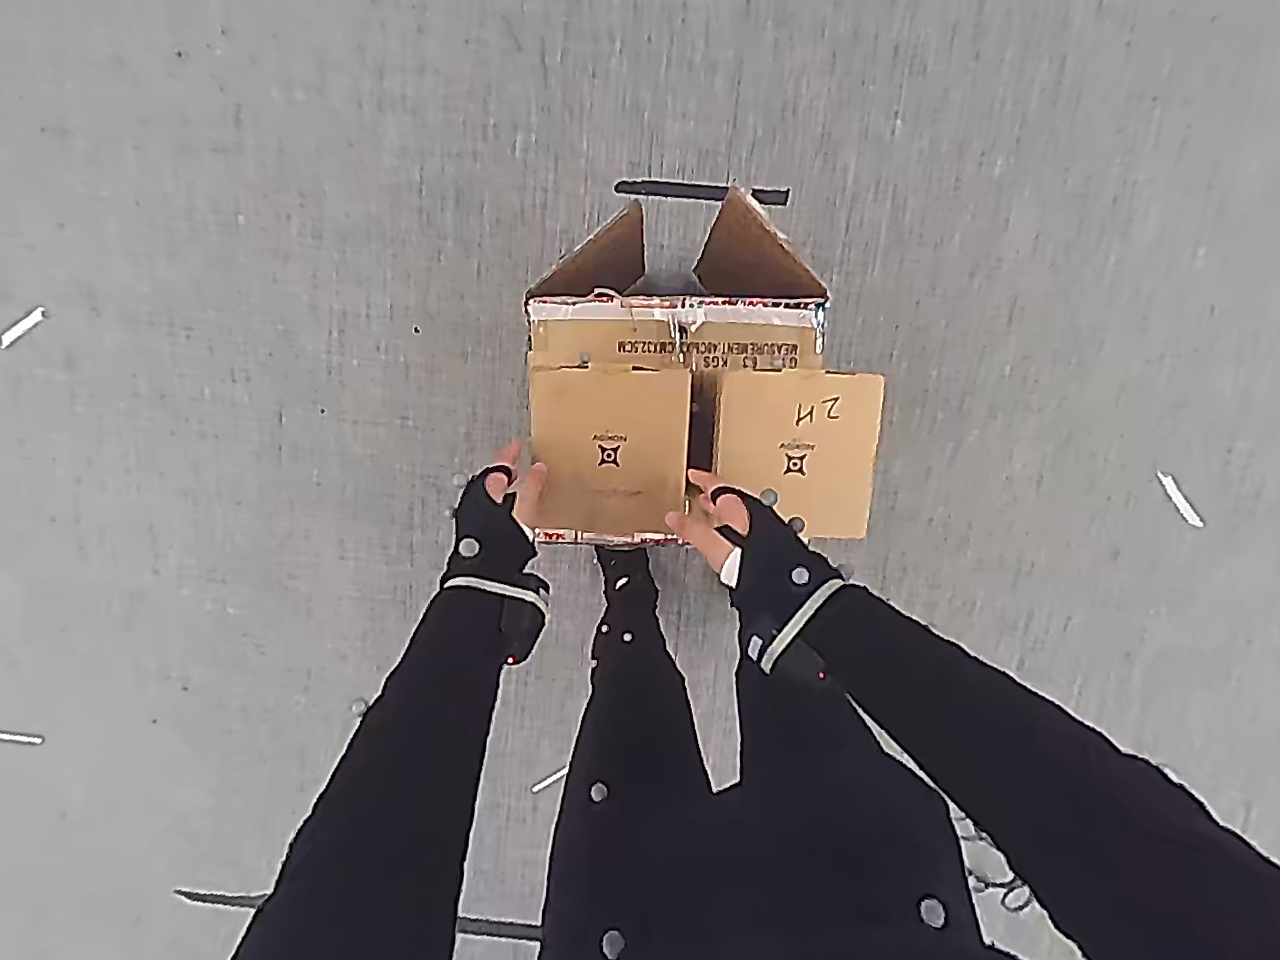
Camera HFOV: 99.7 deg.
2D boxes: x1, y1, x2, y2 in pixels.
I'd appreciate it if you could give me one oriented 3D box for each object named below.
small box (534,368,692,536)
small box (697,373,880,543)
[{"bbox_3d":[-0.028,-0.043,0.647,0.168,0.176,0.179,1,102,3],"label":"small box"},{"bbox_3d":[0.160,-0.035,0.643,0.168,0.176,0.179,2,100,-1],"label":"small box"}]
